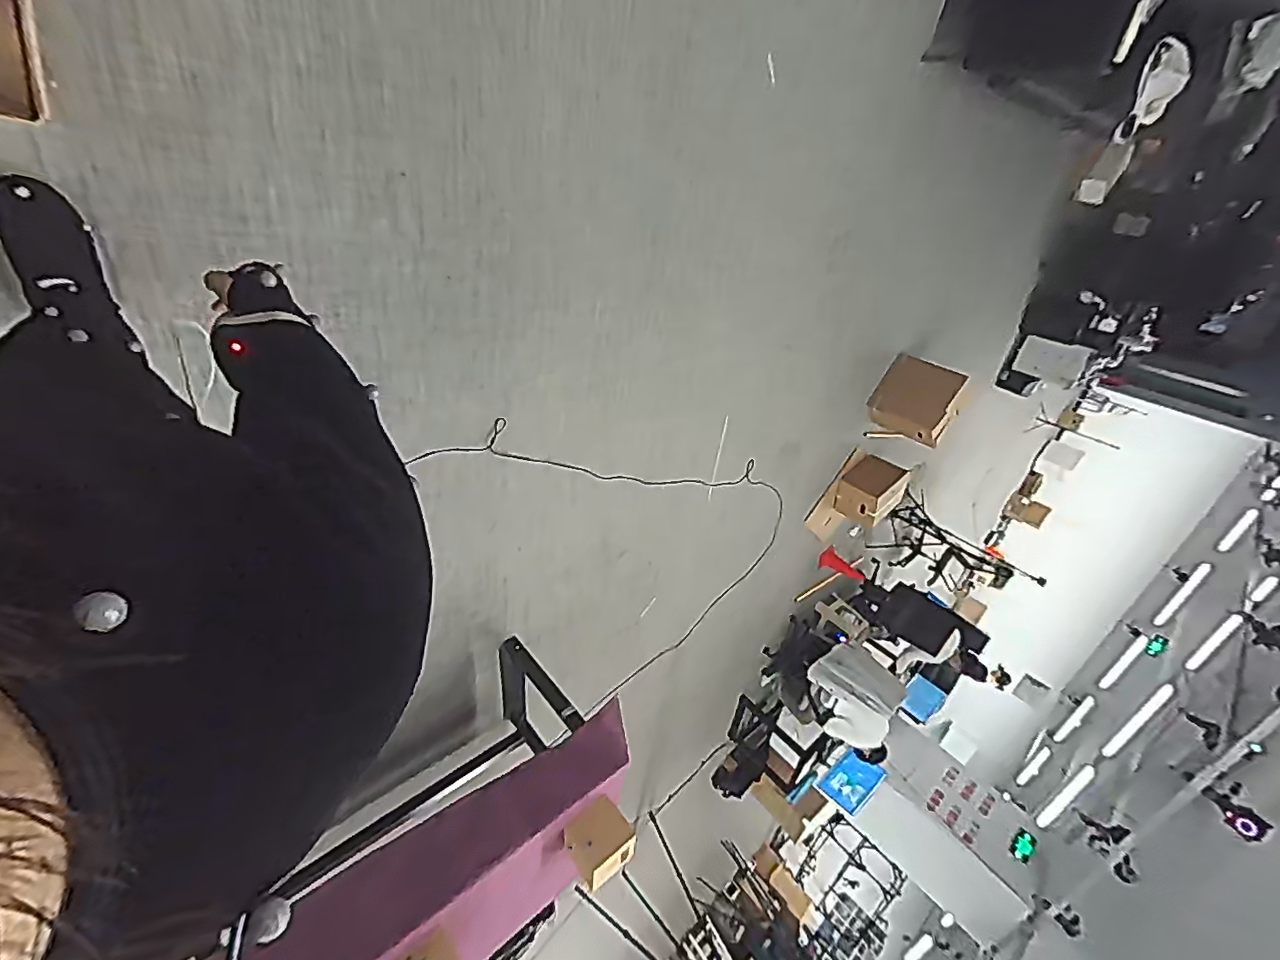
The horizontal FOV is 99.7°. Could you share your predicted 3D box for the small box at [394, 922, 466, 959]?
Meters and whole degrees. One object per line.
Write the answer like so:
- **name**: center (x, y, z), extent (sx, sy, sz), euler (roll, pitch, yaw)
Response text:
- **small box**: center (-0.567, 1.378, 1.486), extent (0.168, 0.176, 0.179), euler (-19, 131, -38)
